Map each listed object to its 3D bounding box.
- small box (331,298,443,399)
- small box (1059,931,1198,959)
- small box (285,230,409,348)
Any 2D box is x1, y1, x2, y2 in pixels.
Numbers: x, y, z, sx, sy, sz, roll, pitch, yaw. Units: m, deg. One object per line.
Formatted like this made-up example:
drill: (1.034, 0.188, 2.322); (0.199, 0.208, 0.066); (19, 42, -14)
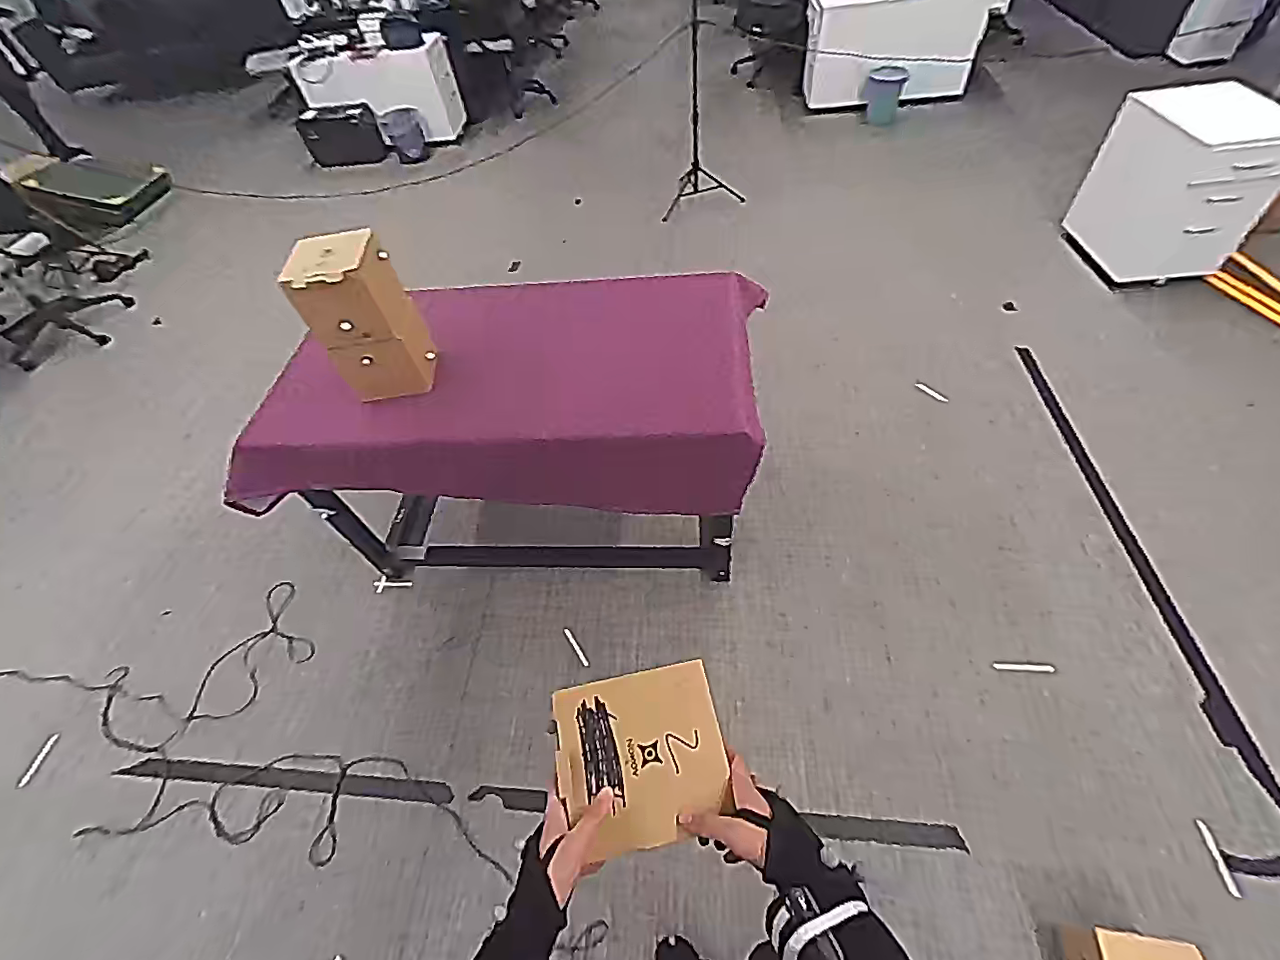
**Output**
small box: (-0.607, -0.315, 1.320); (0.179, 0.176, 0.168); (-8, 52, 0)
small box: (0.957, 0.996, 1.047); (0.179, 0.176, 0.168); (4, 53, 9)
small box: (-0.632, -0.419, 1.194); (0.168, 0.176, 0.179); (-9, 52, 0)
